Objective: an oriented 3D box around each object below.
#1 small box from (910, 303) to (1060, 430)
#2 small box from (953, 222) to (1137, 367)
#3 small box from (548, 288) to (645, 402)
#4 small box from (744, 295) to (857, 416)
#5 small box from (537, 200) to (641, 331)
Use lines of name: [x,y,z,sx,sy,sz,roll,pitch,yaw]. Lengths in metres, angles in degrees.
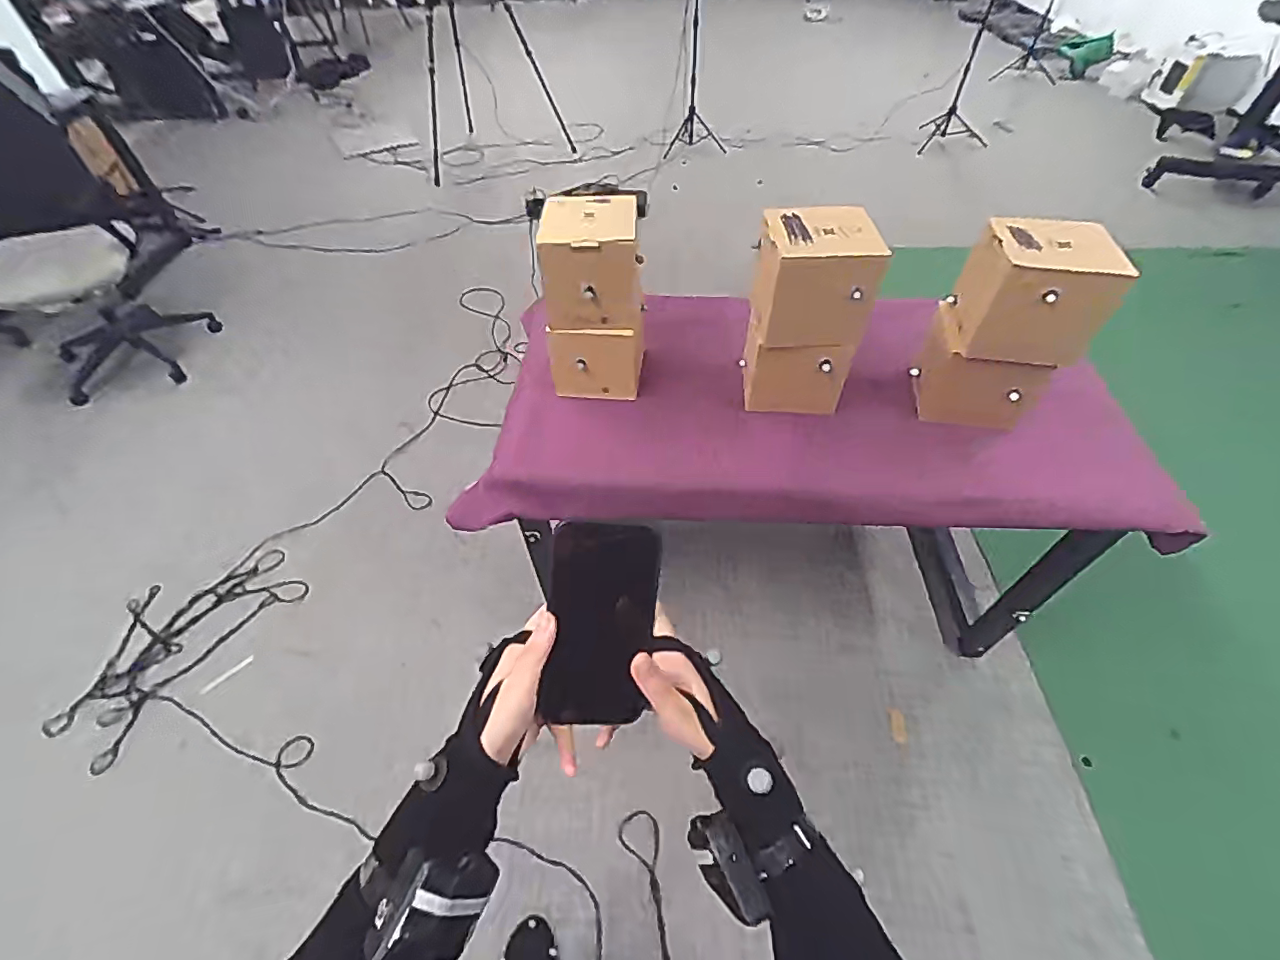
small box: [0.644,-0.214,1.034,0.179,0.176,0.168,8,50,9]
small box: [0.647,-0.307,0.898,0.179,0.176,0.168,8,50,8]
small box: [-0.080,-0.277,1.113,0.168,0.176,0.179,3,50,5]
small box: [0.307,-0.242,1.068,0.179,0.176,0.168,3,50,4]
small box: [-0.084,-0.389,0.993,0.168,0.176,0.179,0,51,1]
